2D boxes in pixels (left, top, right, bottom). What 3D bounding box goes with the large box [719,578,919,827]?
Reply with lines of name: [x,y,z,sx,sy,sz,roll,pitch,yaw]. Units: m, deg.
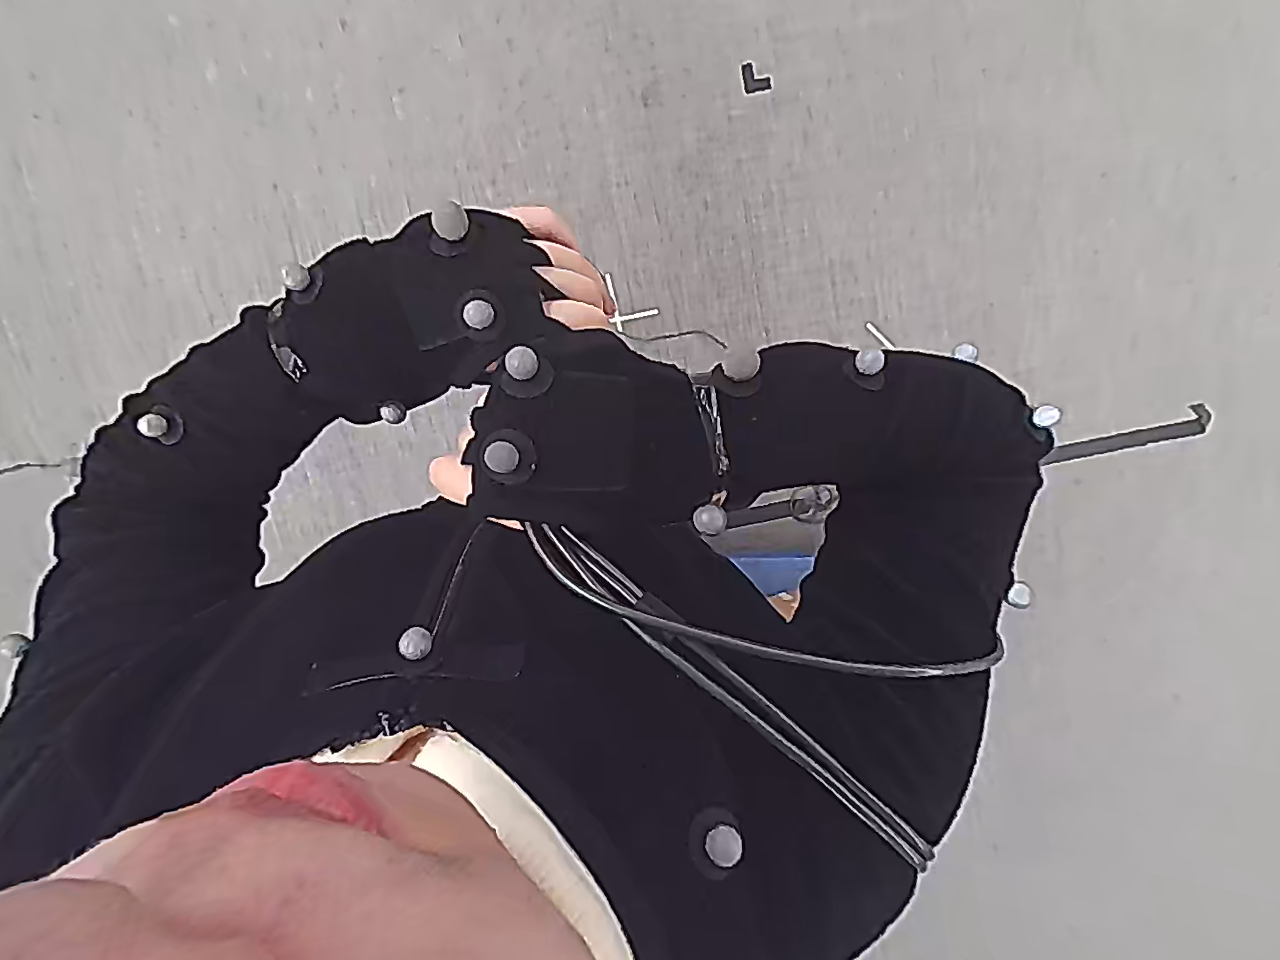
large box: [0.400,0.494,1.271,0.320,0.320,0.408,-12,100,-2]
